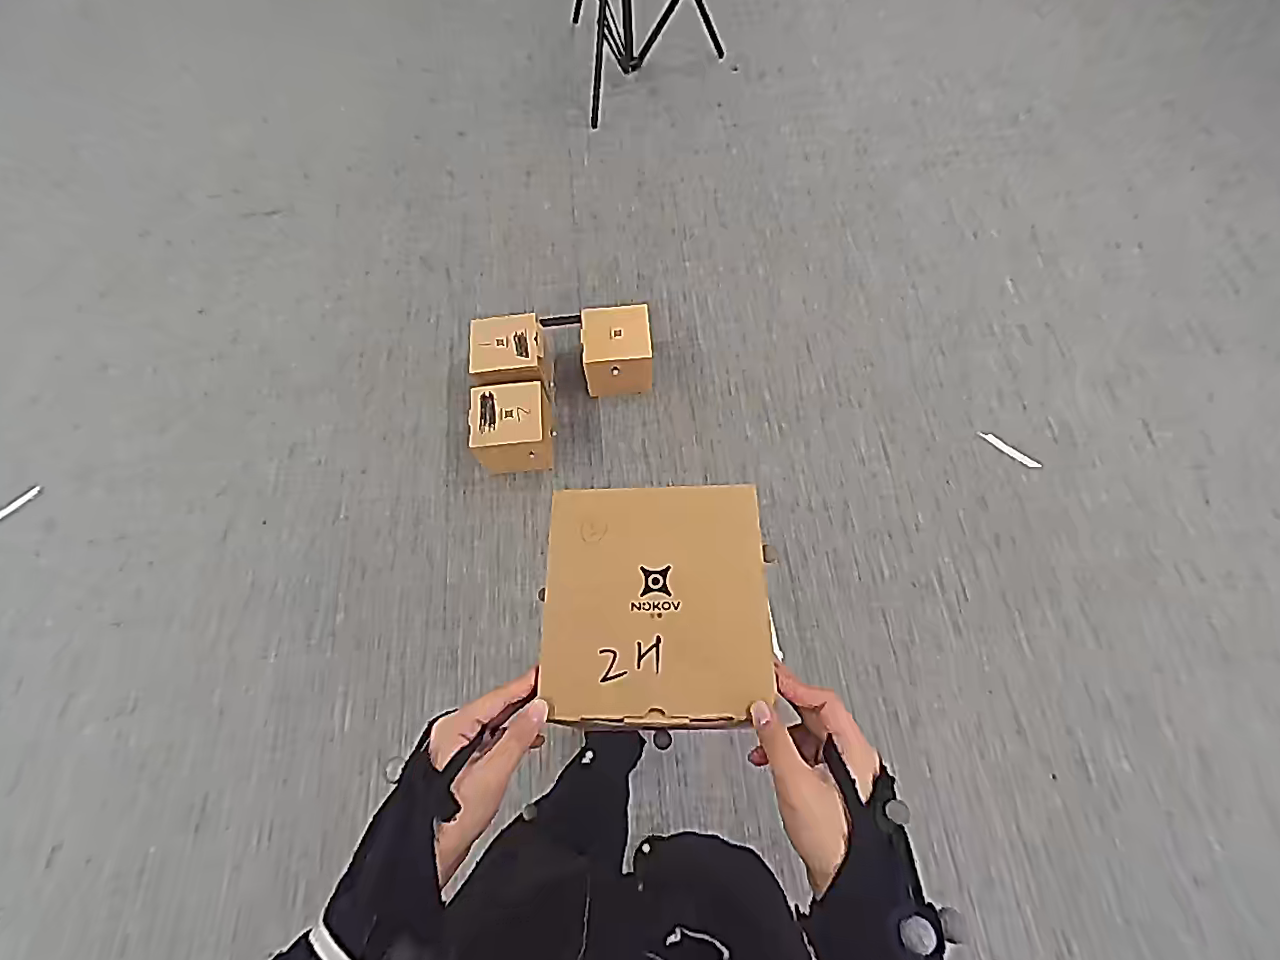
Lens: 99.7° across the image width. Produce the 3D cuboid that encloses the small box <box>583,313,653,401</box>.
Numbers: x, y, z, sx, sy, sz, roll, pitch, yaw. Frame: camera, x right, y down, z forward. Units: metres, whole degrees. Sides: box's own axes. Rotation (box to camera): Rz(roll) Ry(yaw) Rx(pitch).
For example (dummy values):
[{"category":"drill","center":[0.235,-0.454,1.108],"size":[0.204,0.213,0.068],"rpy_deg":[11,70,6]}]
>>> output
[{"category":"small box","center":[-0.056,-0.328,1.459],"size":[0.179,0.176,0.168],"rpy_deg":[-5,68,1]}]

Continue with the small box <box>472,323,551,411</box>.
[{"category":"small box","center":[-0.339,-0.300,1.458],"size":[0.179,0.176,0.168],"rpy_deg":[-6,68,1]}]

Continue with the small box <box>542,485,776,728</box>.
[{"category":"small box","center":[0.019,0.120,0.480],"size":[0.168,0.176,0.179],"rpy_deg":[-2,63,5]}]
